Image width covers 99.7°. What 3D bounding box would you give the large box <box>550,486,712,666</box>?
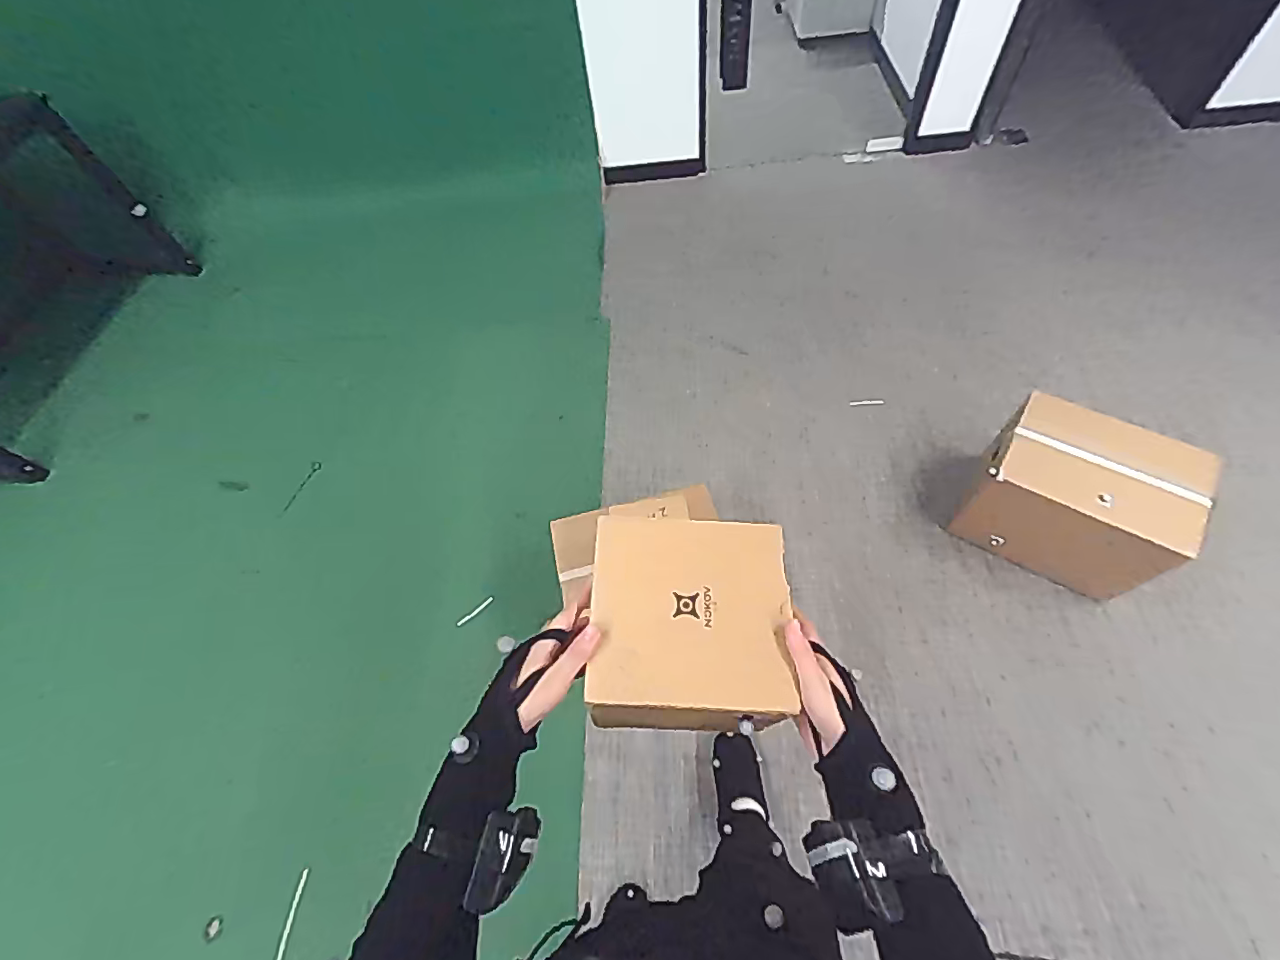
[{"bbox_3d":[0.021,0.263,1.382,0.408,0.320,0.320,-14,58,-2],"label":"large box"}]

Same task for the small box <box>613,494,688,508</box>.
[{"bbox_3d":[0.031,0.155,1.156,0.168,0.176,0.179,-9,59,-1],"label":"small box"}]

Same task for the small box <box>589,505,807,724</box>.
[{"bbox_3d":[0.045,0.139,0.532,0.179,0.176,0.168,3,58,-2],"label":"small box"}]
